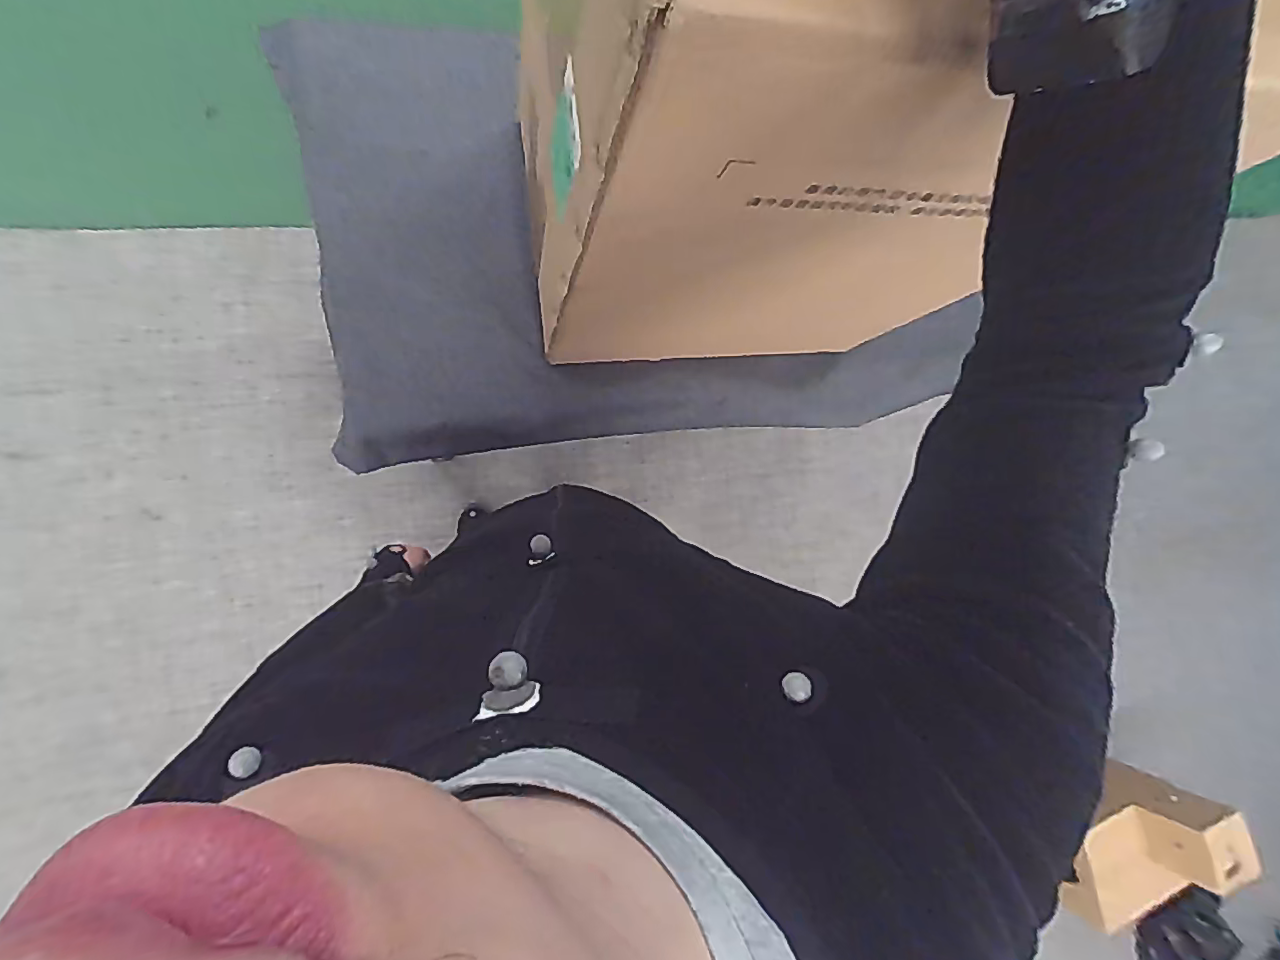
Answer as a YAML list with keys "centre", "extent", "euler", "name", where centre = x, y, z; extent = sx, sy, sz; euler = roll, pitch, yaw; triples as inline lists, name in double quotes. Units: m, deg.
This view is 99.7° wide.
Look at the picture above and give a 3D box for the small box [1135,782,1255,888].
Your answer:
- centre: [1.616, 1.029, 1.583]
  extent: [0.168, 0.176, 0.179]
  euler: [-13, 87, -14]
  name: "small box"
